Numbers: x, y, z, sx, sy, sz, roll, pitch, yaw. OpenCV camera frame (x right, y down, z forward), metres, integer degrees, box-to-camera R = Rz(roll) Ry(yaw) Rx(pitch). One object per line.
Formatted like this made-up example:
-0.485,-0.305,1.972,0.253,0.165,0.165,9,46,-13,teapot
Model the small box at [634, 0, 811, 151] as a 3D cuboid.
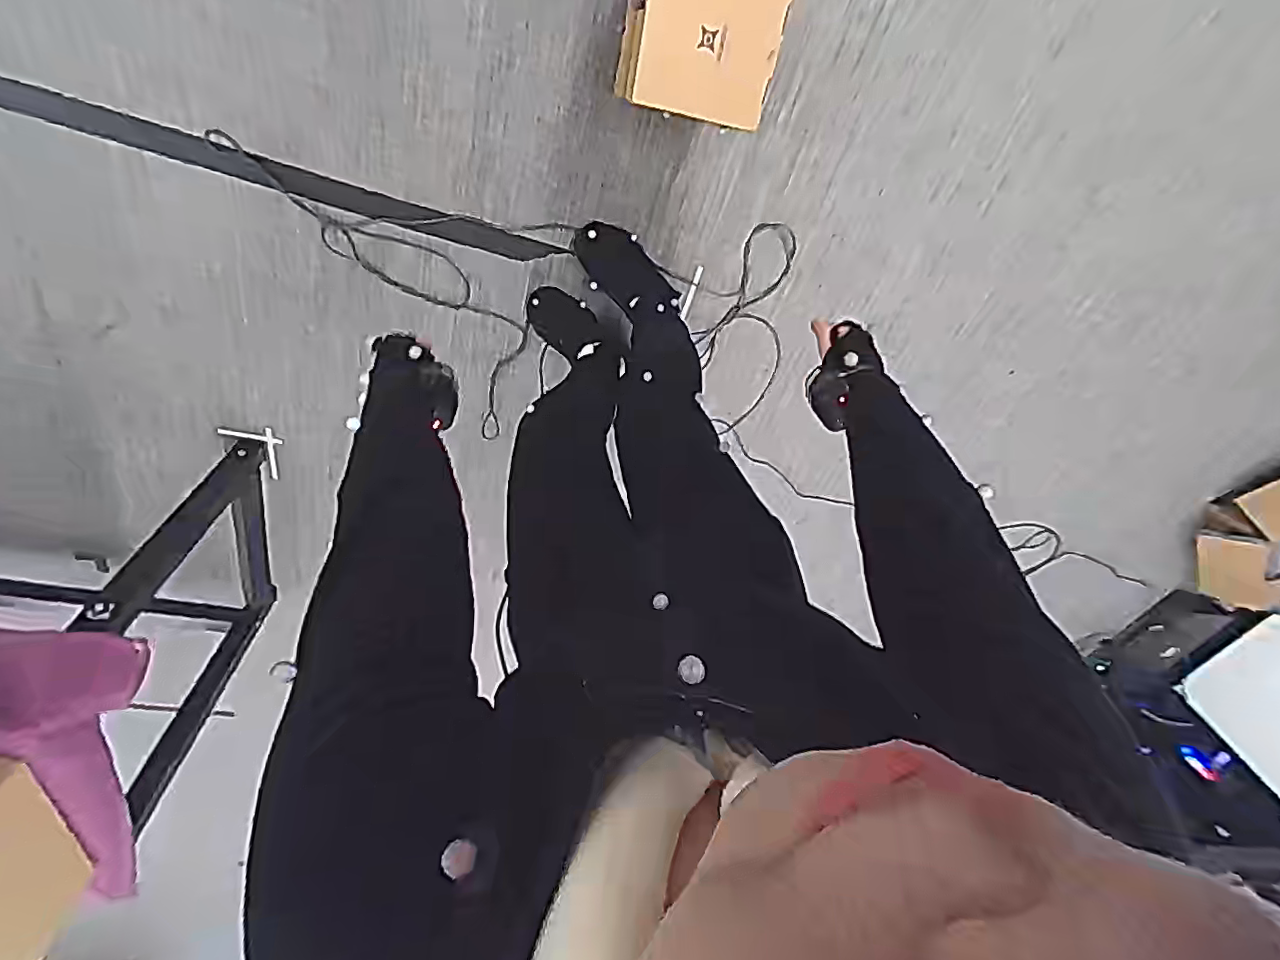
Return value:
0.101,-0.557,0.706,0.168,0.176,0.179,-6,111,-25,small box
